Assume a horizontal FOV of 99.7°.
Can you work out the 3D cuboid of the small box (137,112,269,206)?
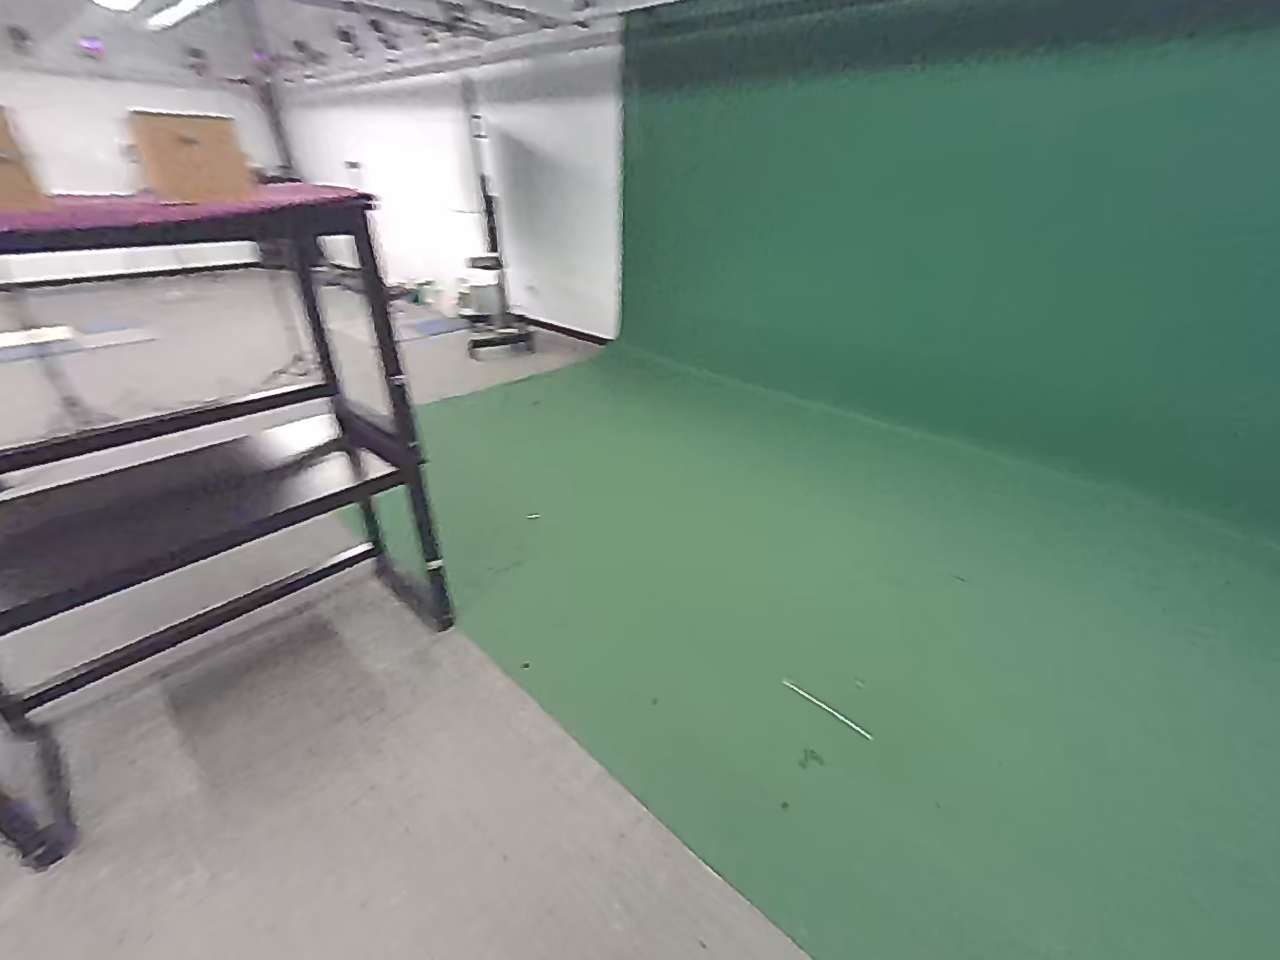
[{"bbox_3d":[-0.986,-0.719,1.227,0.168,0.176,0.179,24,36,38],"label":"small box"}]
